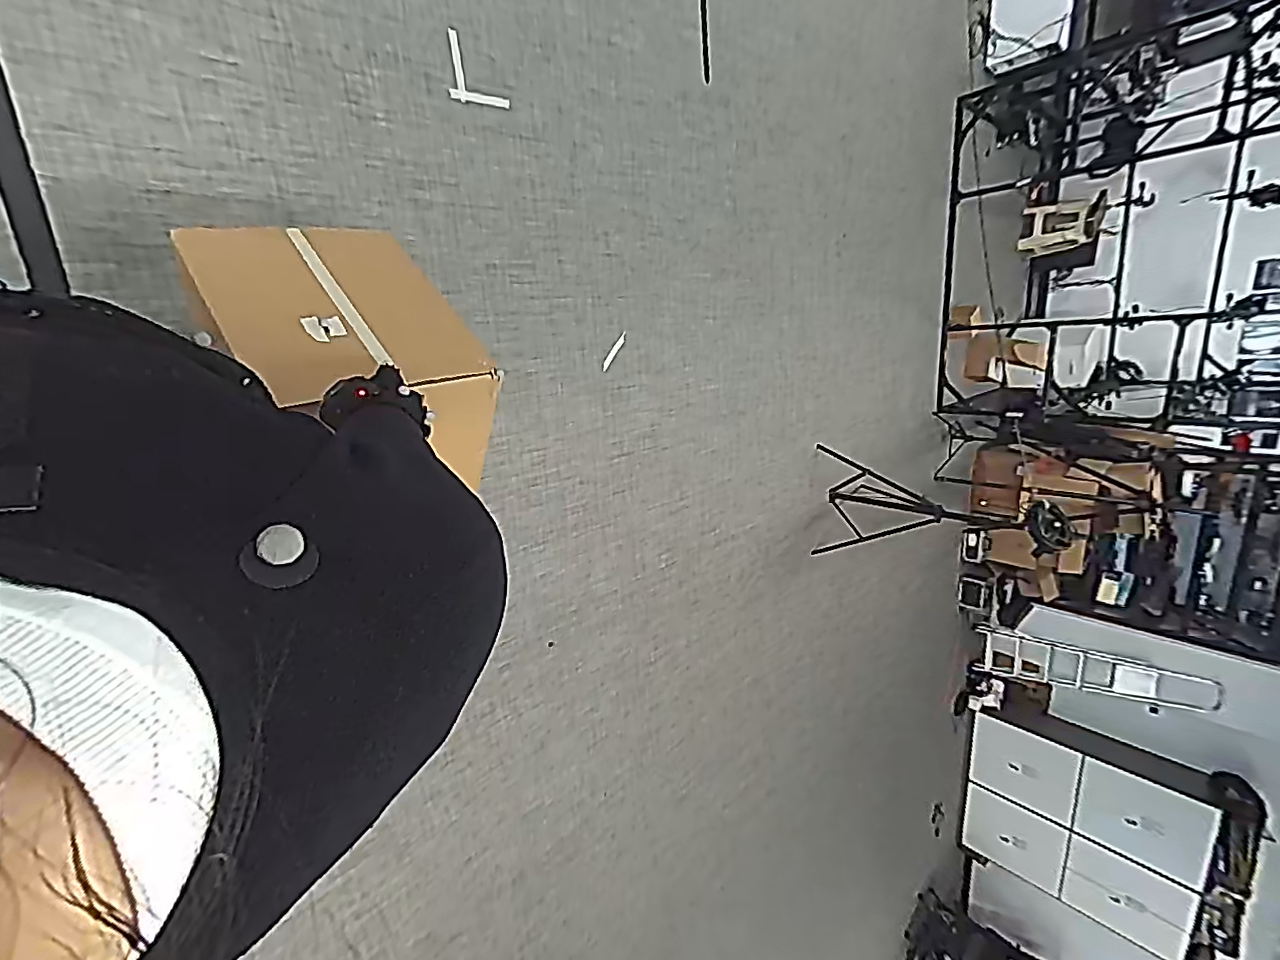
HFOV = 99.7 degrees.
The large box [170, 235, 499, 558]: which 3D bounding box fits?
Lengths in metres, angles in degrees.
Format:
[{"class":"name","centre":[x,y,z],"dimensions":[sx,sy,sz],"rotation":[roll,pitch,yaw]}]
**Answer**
[{"class":"large box","centre":[-0.497,-0.152,0.897],"dimensions":[0.320,0.408,0.320],"rotation":[-22,152,-40]}]
